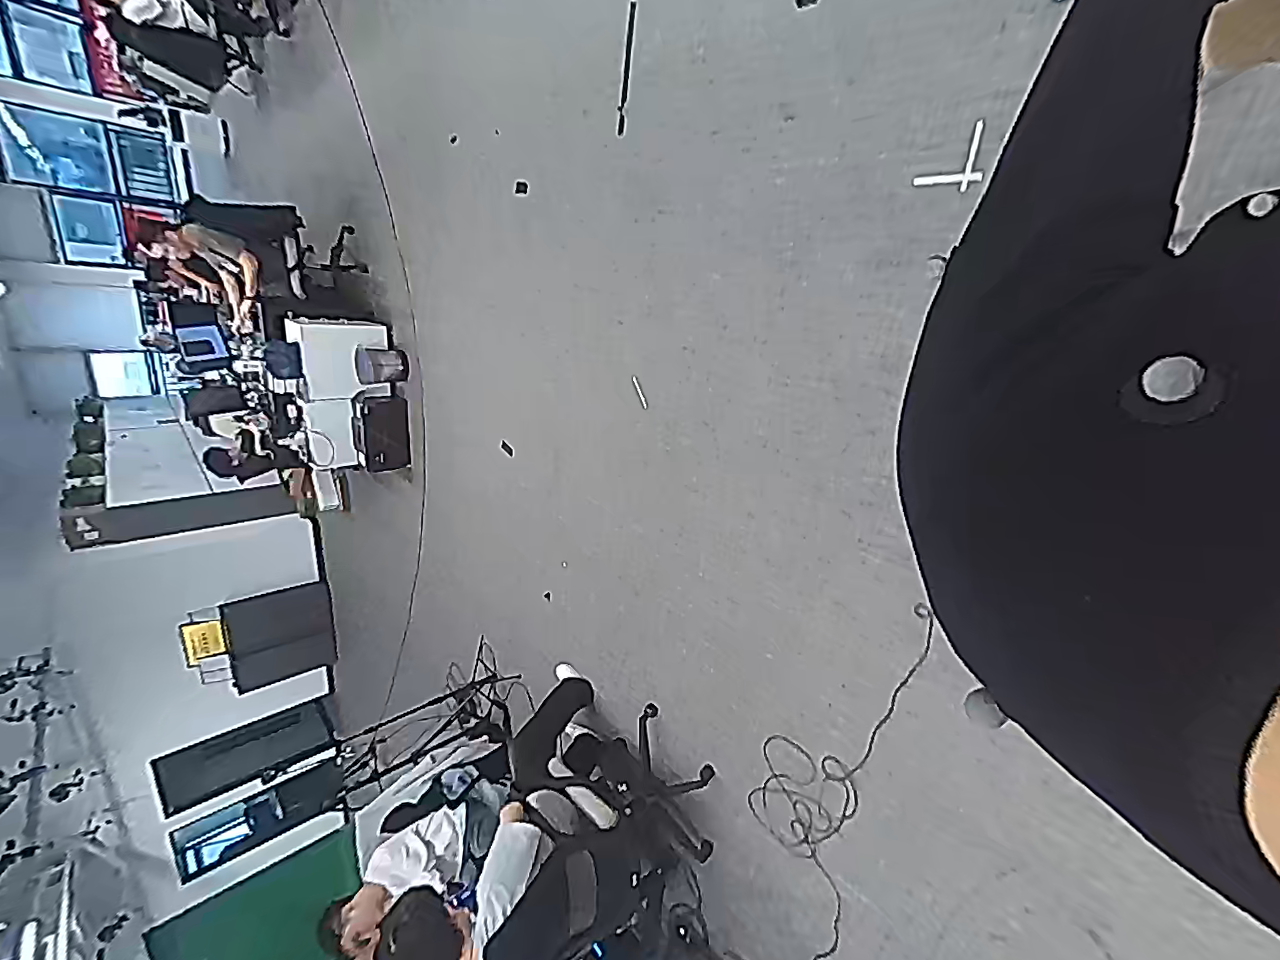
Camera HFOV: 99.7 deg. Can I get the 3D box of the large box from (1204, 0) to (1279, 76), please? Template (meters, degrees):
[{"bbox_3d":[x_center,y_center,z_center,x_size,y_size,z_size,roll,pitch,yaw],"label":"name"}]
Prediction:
[{"bbox_3d":[0.654,-0.488,0.307,0.408,0.320,0.320,23,121,41],"label":"large box"}]
